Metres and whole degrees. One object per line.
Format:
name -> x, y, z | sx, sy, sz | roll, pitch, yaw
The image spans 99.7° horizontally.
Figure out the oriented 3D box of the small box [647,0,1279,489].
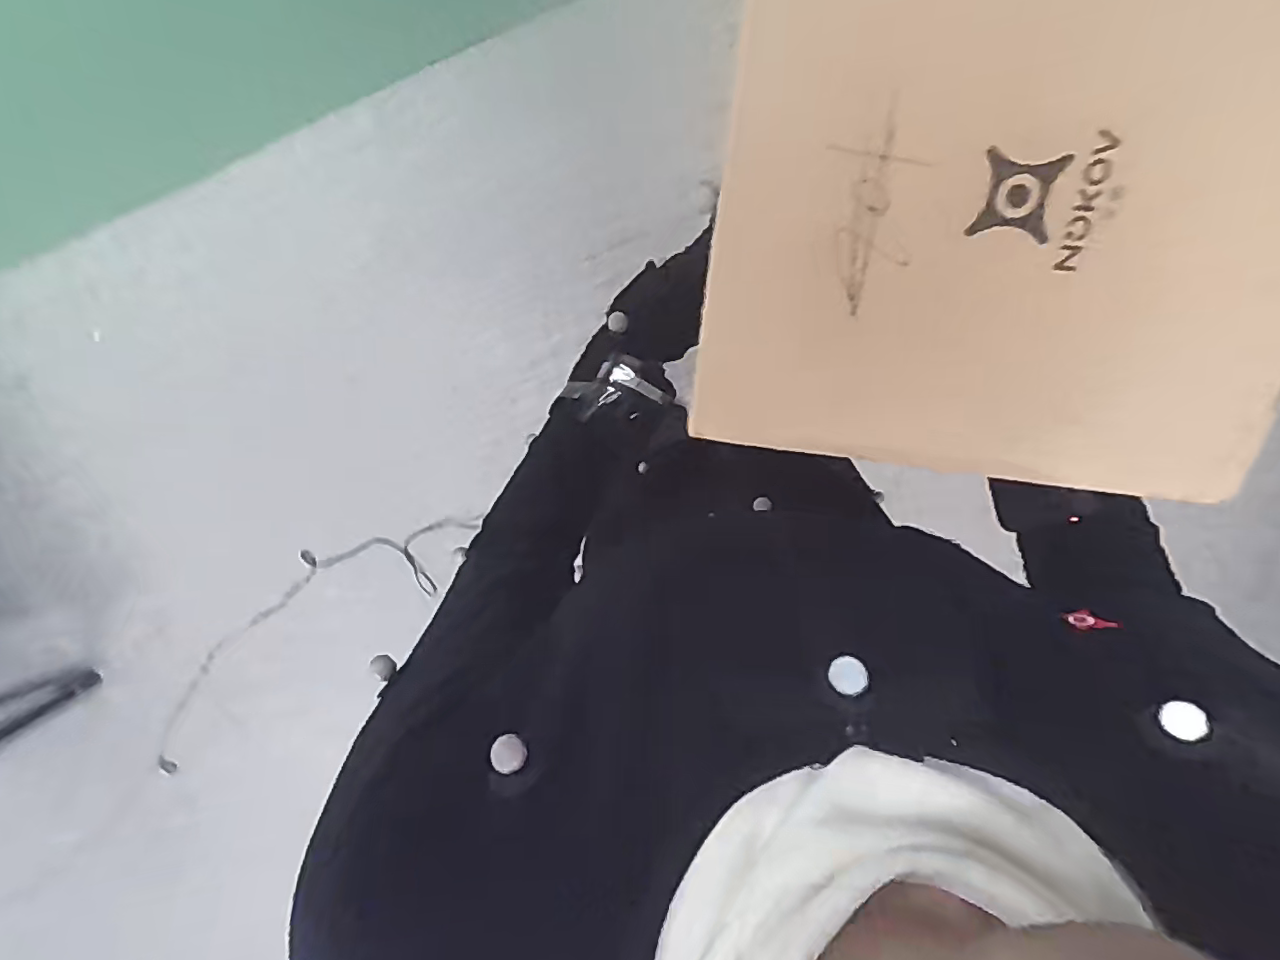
small box -> 0.105, -0.109, 0.230 | 0.179, 0.176, 0.168 | 7, 110, 6
